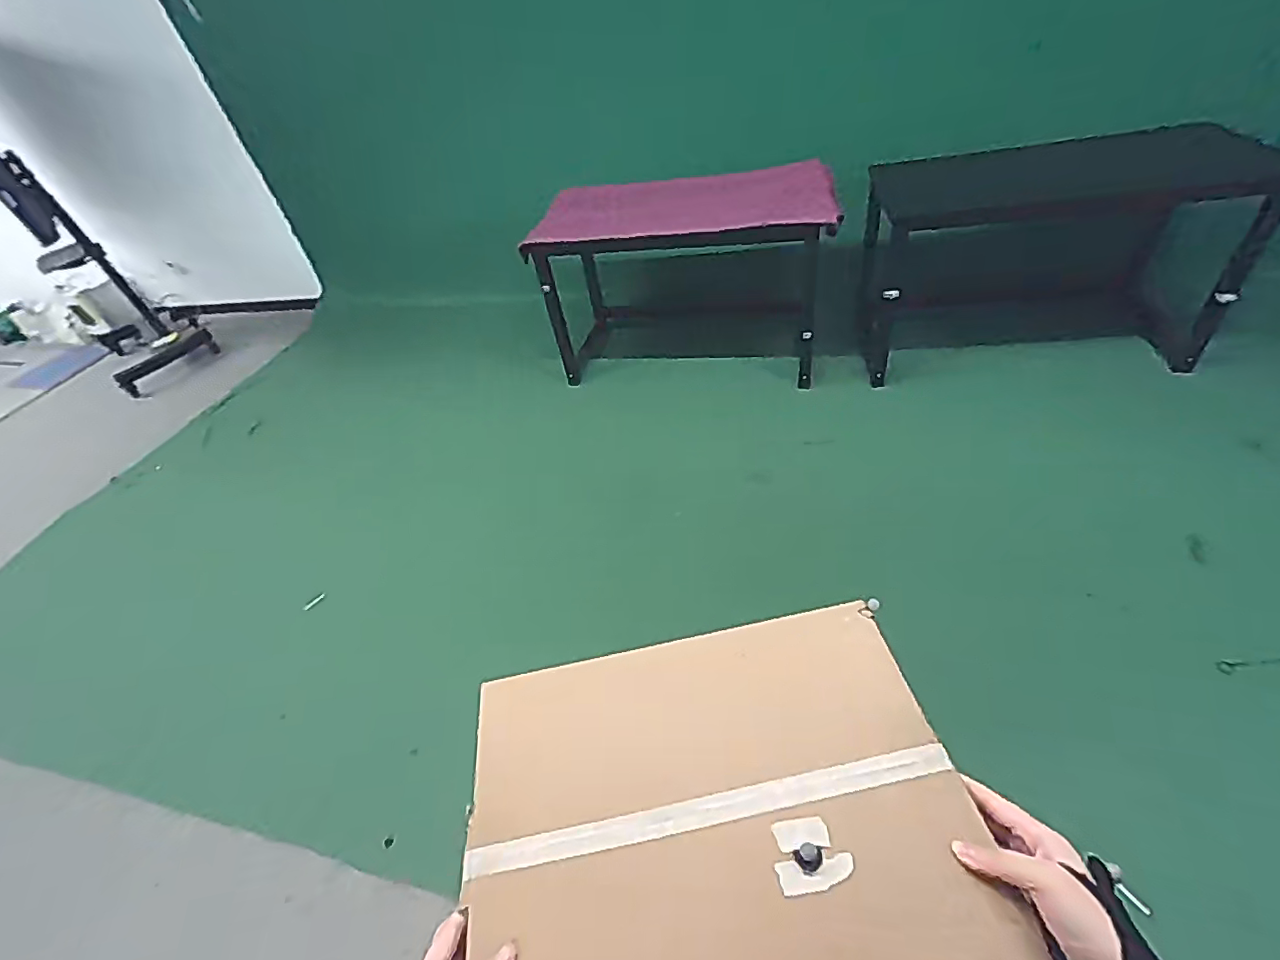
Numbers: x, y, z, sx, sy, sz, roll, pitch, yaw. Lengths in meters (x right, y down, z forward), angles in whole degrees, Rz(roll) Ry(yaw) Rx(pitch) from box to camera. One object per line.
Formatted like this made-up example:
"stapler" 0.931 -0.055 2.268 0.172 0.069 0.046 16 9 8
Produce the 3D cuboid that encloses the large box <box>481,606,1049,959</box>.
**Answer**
"large box" 0.080 0.383 0.562 0.408 0.320 0.320 -11 44 -2
